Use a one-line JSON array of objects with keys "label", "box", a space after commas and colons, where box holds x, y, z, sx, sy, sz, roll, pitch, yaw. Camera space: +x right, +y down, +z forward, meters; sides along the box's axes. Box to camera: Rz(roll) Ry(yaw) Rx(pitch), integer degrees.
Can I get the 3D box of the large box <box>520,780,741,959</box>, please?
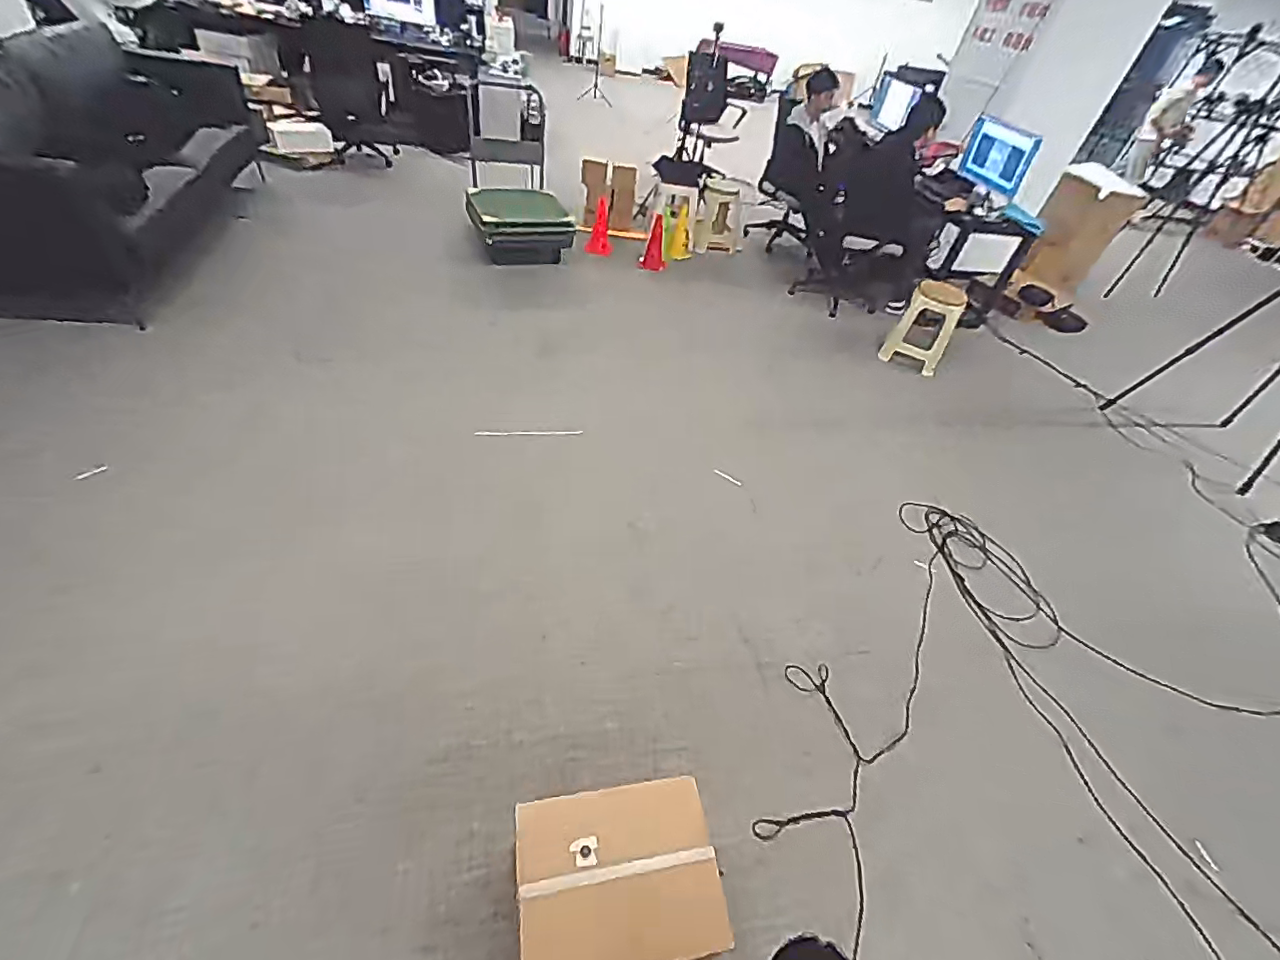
[{"label": "large box", "box": [-0.046, 0.911, 1.190, 0.408, 0.320, 0.320, -3, 44, -14]}]
